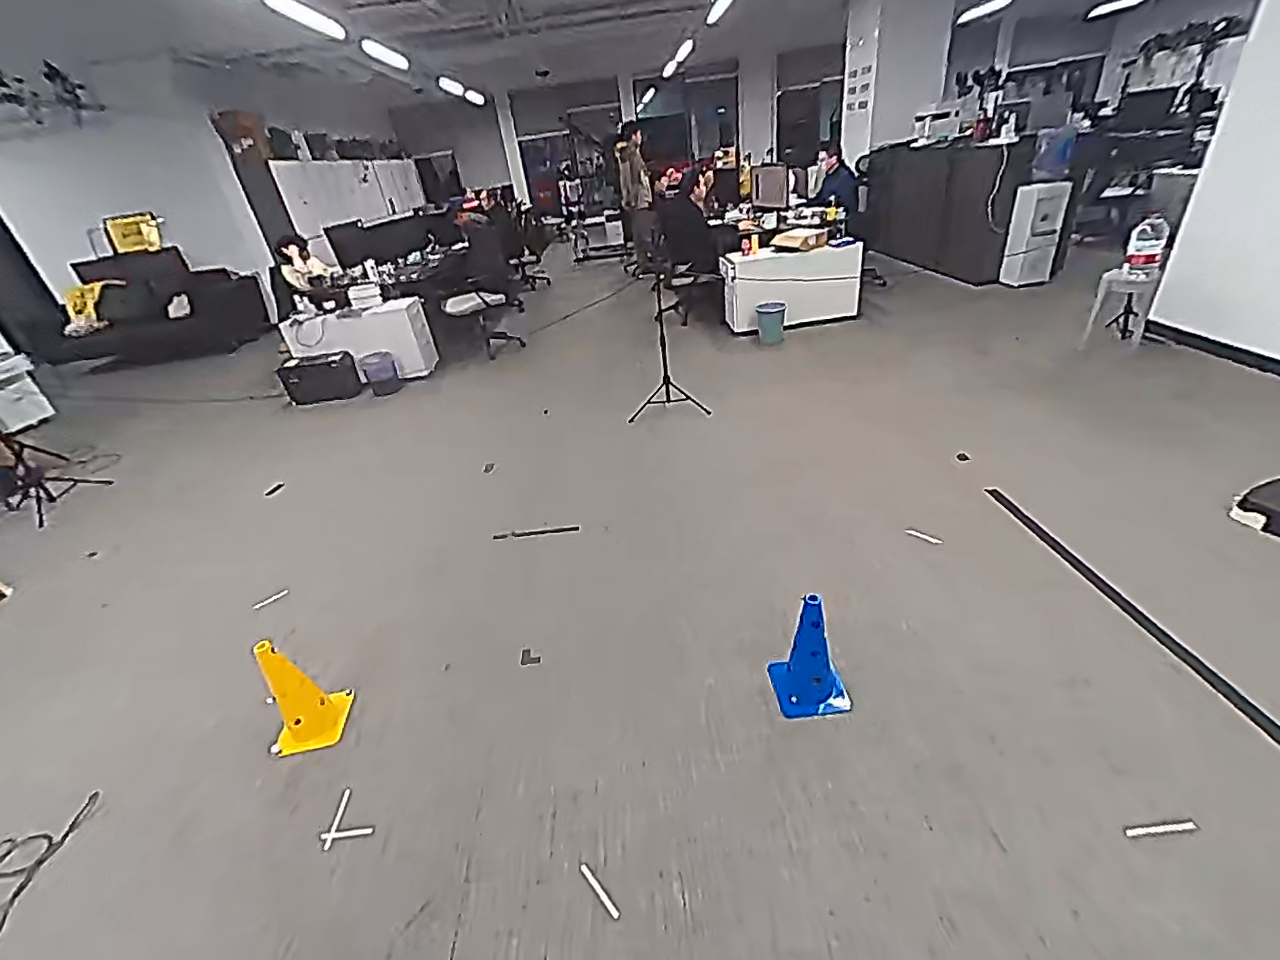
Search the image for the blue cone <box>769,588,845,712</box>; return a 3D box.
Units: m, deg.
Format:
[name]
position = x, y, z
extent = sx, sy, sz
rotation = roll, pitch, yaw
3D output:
[blue cone]
position = 0.476, 0.464, 1.527
extent = 0.193, 0.380, 0.192
rotation = -7, 30, 2
